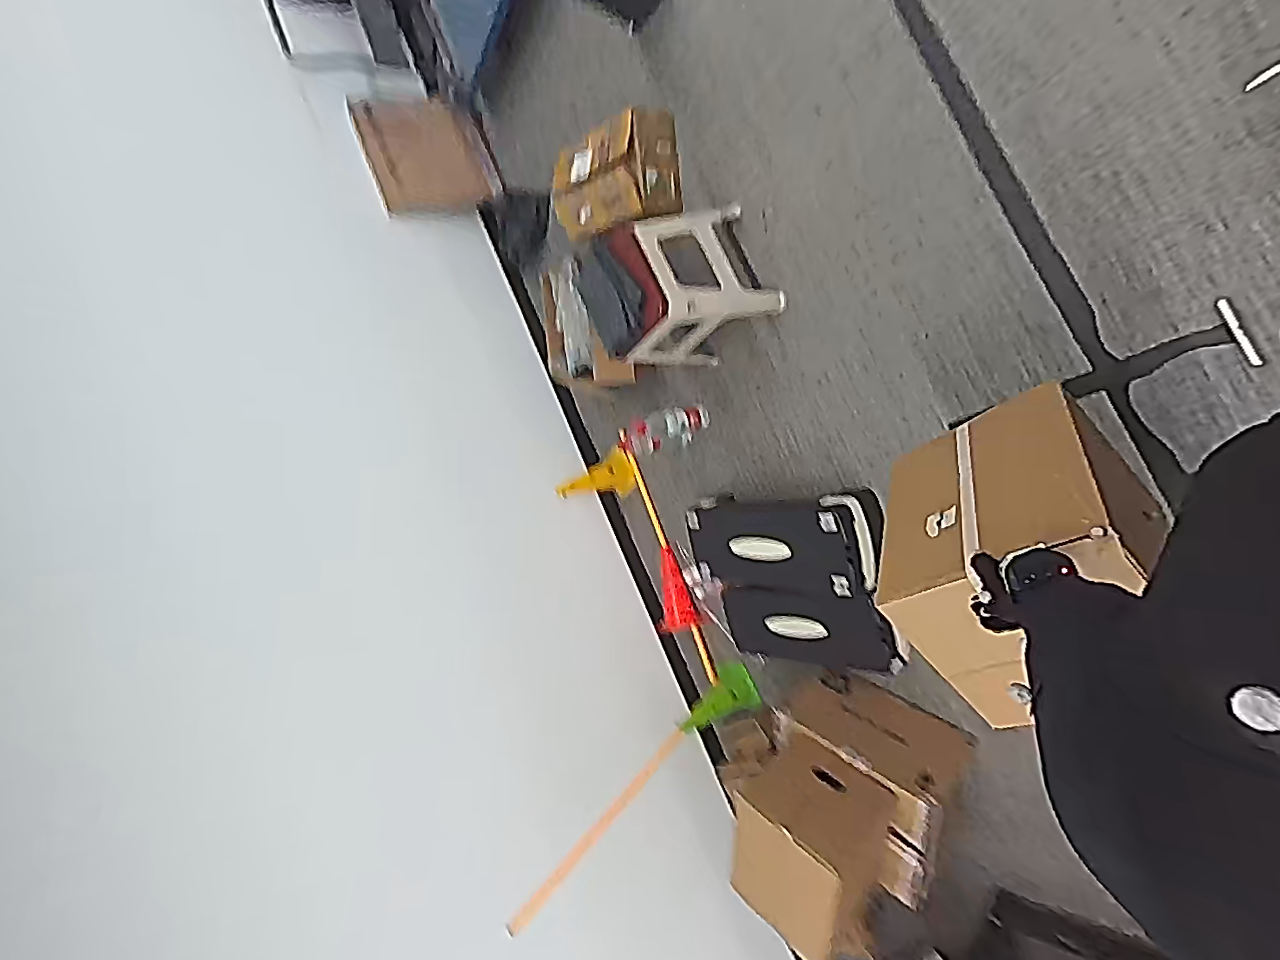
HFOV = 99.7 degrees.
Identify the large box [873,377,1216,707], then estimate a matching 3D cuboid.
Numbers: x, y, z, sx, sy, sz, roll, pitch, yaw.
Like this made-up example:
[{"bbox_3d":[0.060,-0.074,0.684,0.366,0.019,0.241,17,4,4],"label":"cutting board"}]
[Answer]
[{"bbox_3d":[0.634,0.101,0.910,0.320,0.408,0.320,45,134,-10],"label":"large box"}]
